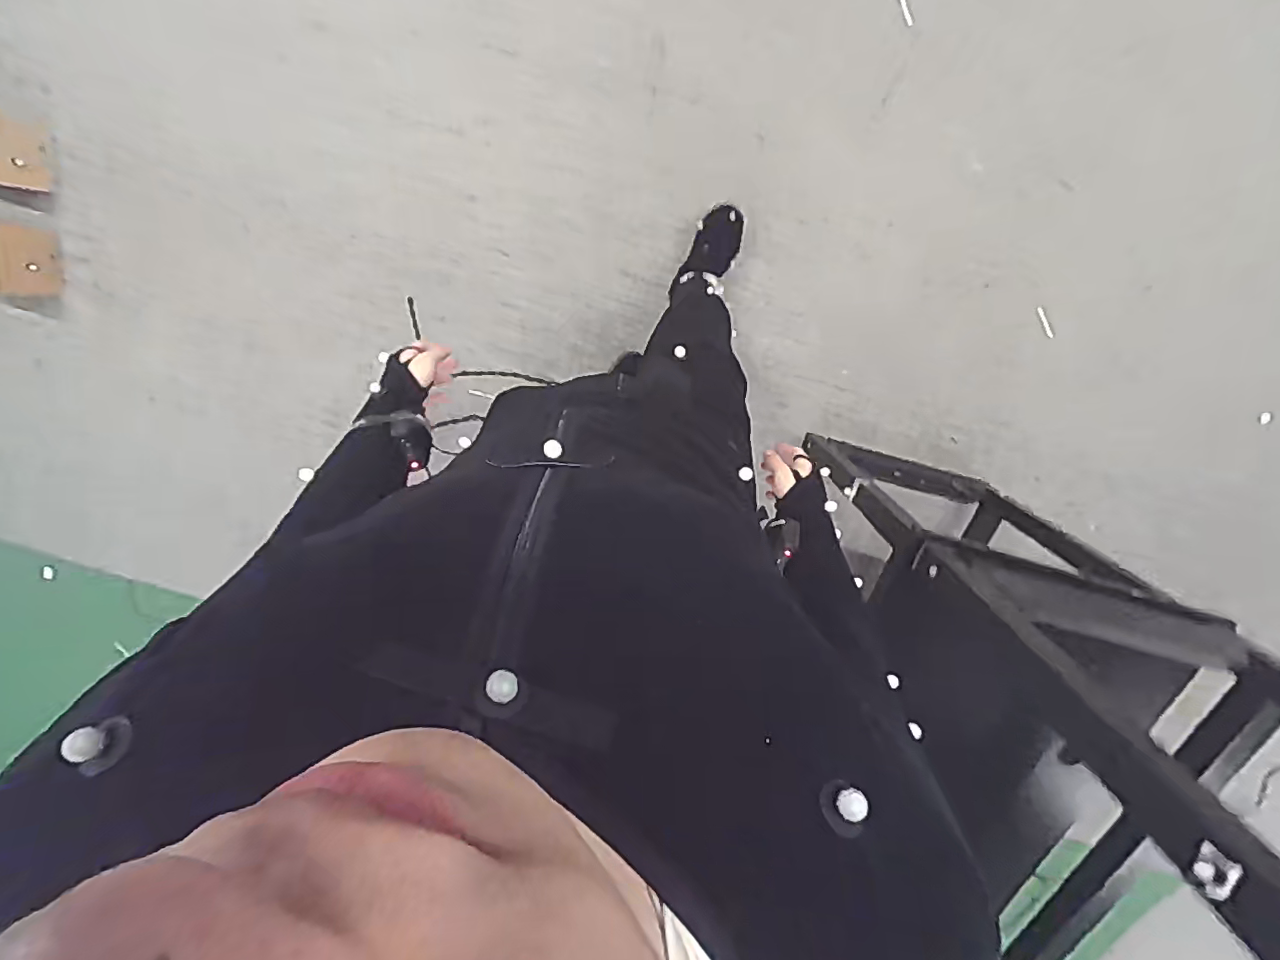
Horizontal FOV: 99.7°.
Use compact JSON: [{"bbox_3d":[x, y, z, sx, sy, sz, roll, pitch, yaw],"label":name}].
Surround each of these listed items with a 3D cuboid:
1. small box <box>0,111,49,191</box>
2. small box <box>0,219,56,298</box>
[{"bbox_3d":[-1.617,-0.828,1.327,0.179,0.176,0.168,17,110,-4],"label":"small box"},{"bbox_3d":[-1.695,-0.587,1.413,0.179,0.176,0.168,17,109,-4],"label":"small box"}]
